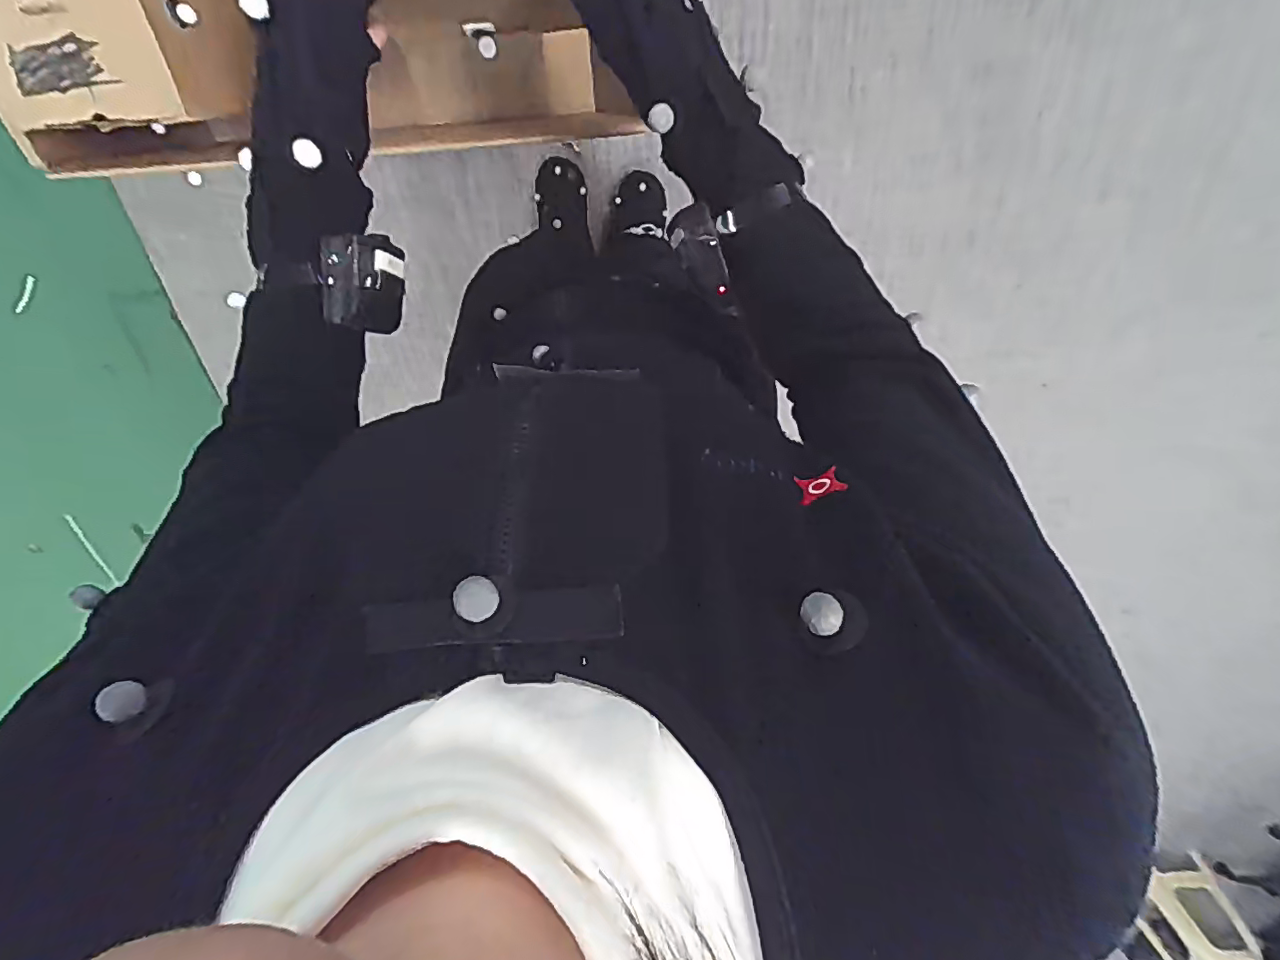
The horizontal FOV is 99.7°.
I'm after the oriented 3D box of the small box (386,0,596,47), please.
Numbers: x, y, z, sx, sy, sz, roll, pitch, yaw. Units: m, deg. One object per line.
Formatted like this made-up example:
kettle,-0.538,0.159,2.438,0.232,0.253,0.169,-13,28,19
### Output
small box,-0.122,-0.434,0.369,0.168,0.176,0.179,-10,118,-1
